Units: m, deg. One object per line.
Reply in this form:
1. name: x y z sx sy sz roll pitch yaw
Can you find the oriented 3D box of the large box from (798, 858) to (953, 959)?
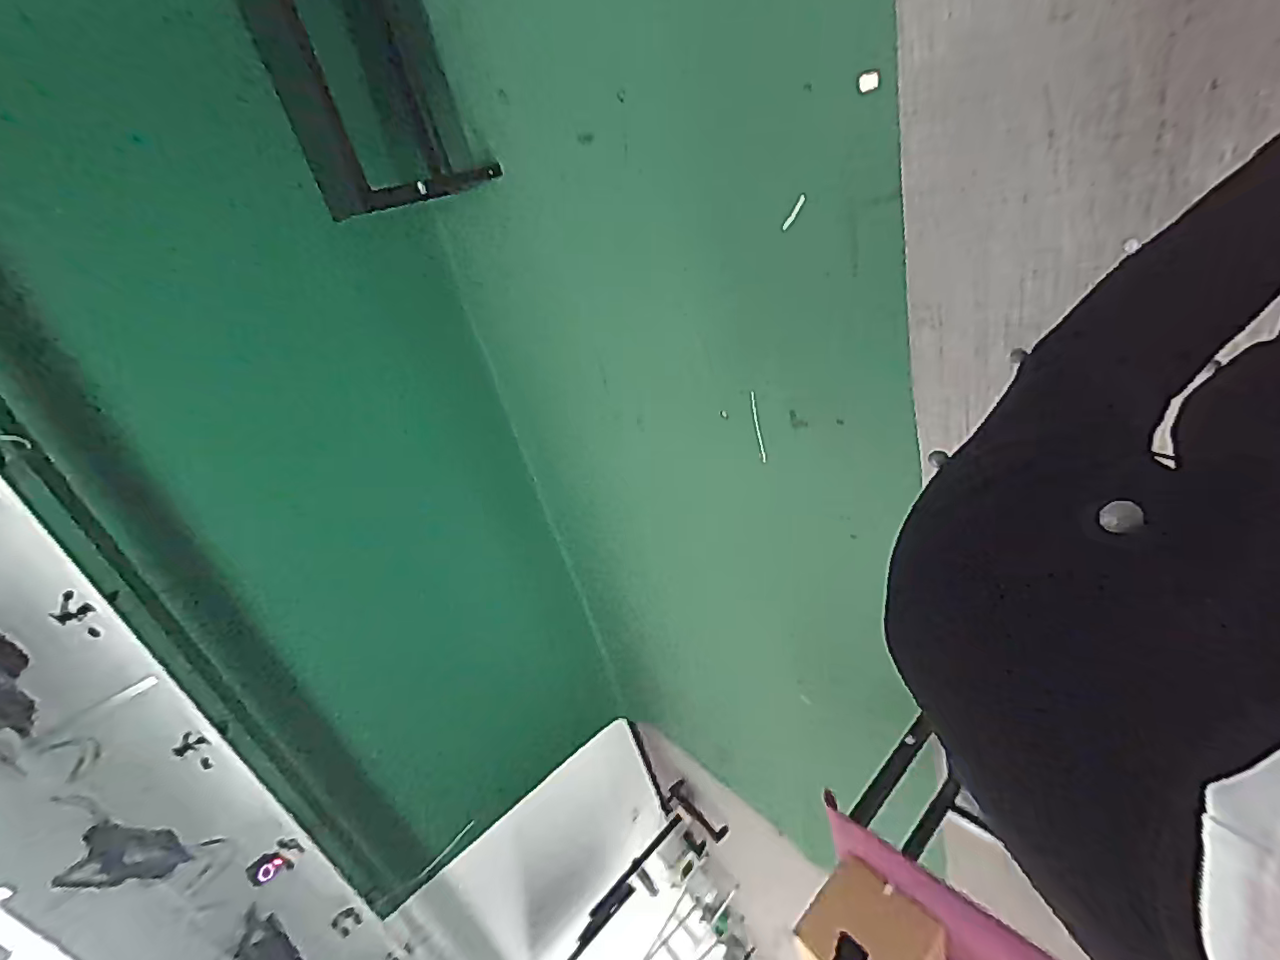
1. large box: 0.729 1.489 1.646 0.320 0.320 0.408 14 128 49
